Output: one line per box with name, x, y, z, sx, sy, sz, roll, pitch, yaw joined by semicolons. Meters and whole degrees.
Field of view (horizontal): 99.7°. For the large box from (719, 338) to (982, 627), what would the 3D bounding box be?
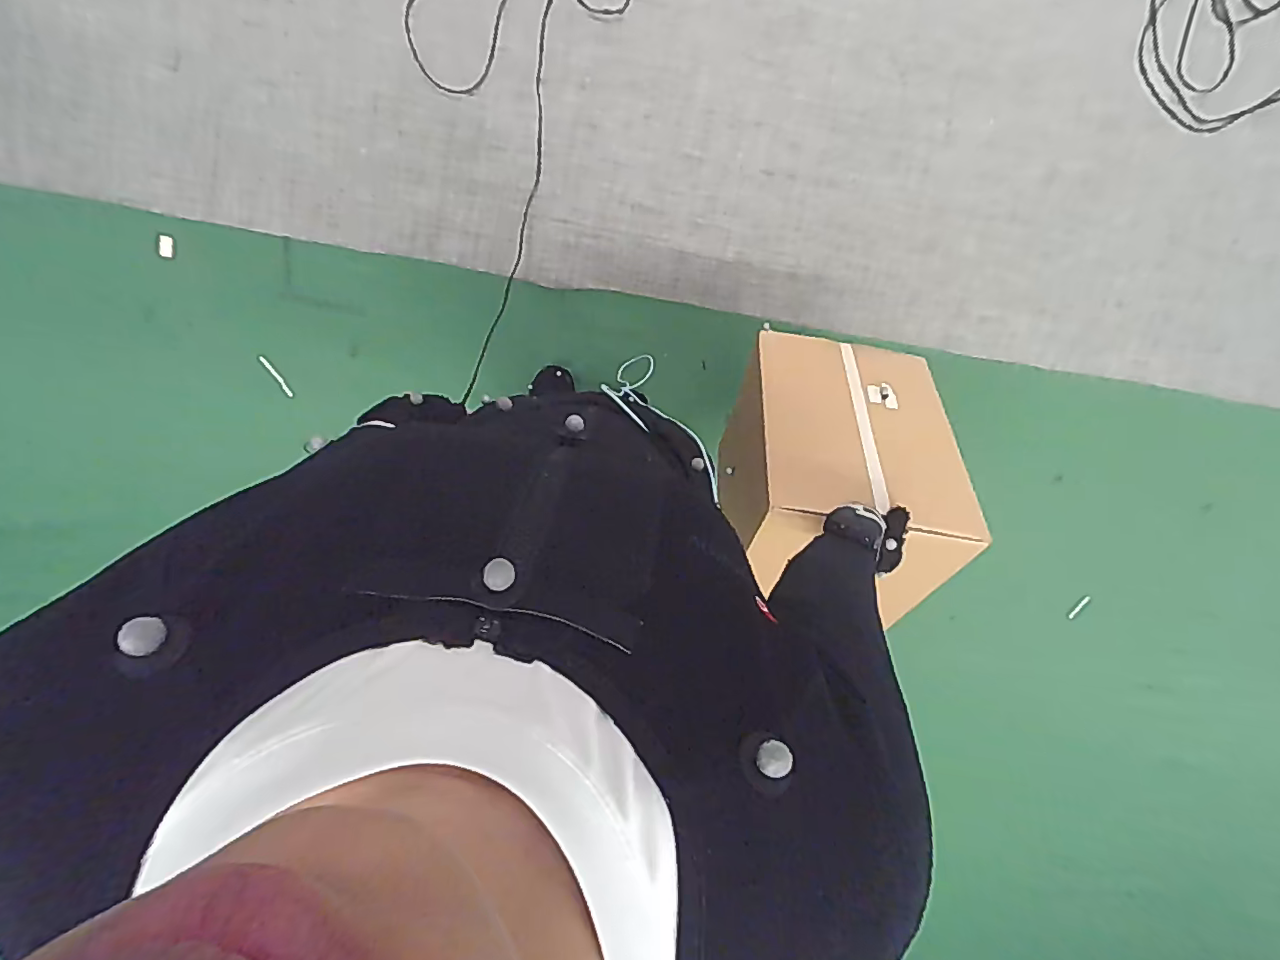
large box;0.329;0.007;0.986;0.320;0.408;0.320;10;140;-3
